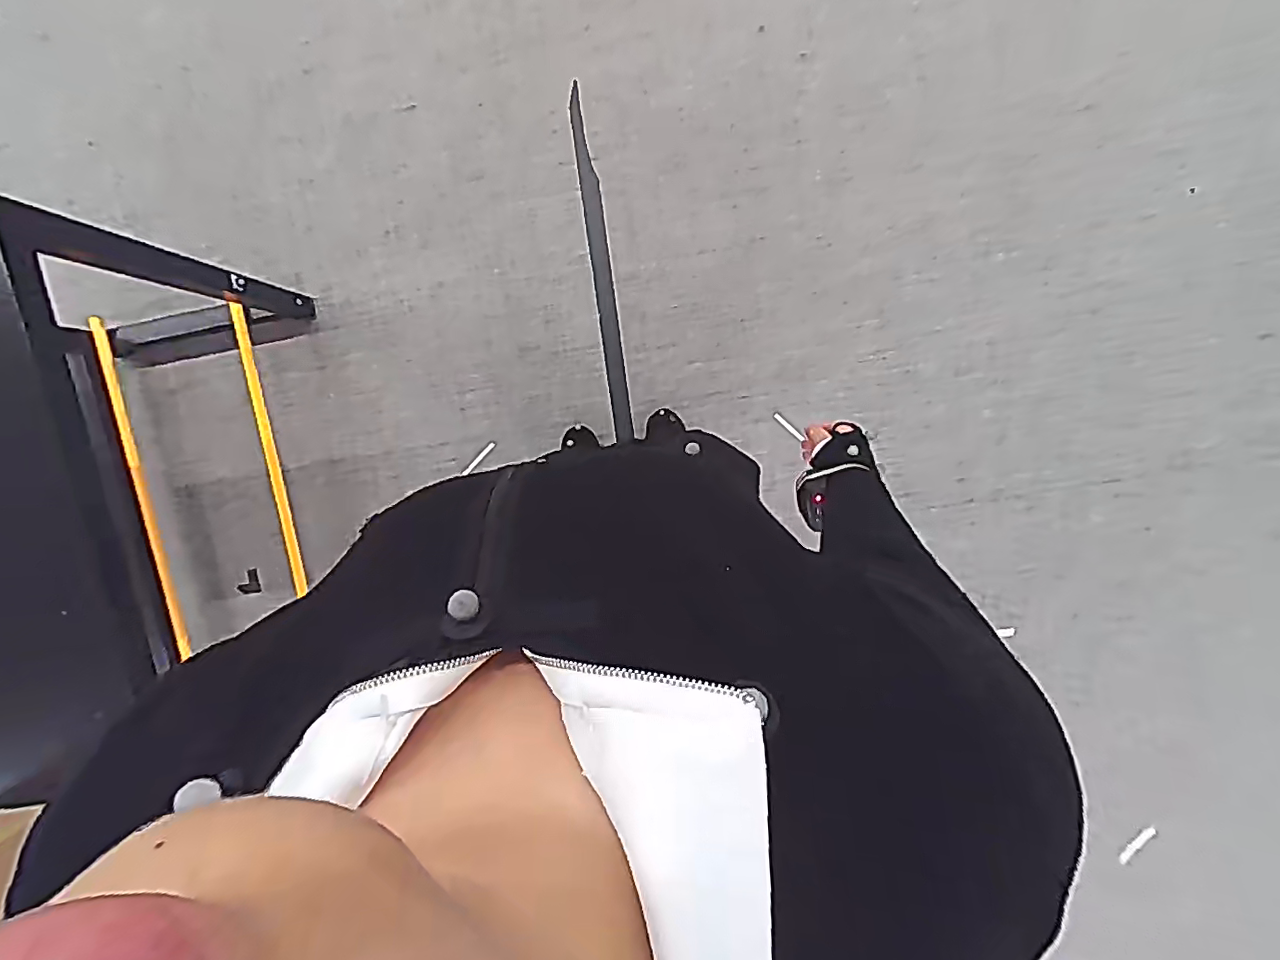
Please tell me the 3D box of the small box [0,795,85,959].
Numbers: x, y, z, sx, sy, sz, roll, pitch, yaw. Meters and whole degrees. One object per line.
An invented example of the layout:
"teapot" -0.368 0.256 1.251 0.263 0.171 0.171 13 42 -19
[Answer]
"small box" -0.956 0.588 0.765 0.168 0.176 0.179 -8 96 2
